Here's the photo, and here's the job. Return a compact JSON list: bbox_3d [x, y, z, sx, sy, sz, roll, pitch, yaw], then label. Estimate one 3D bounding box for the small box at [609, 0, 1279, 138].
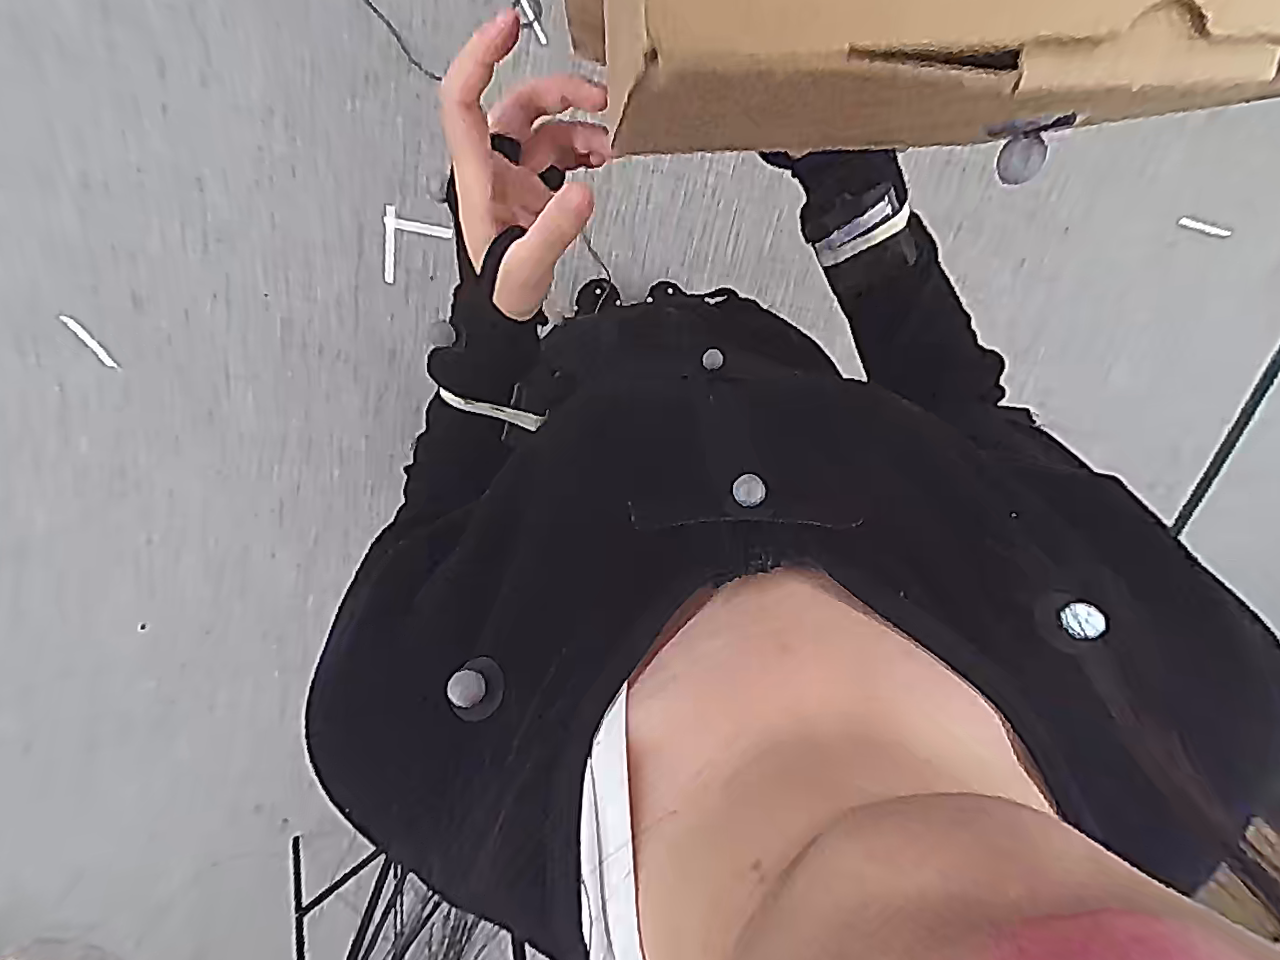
[{"bbox_3d":[0.076,-0.183,0.118,0.168,0.176,0.179,-4,117,-4],"label":"small box"}]
